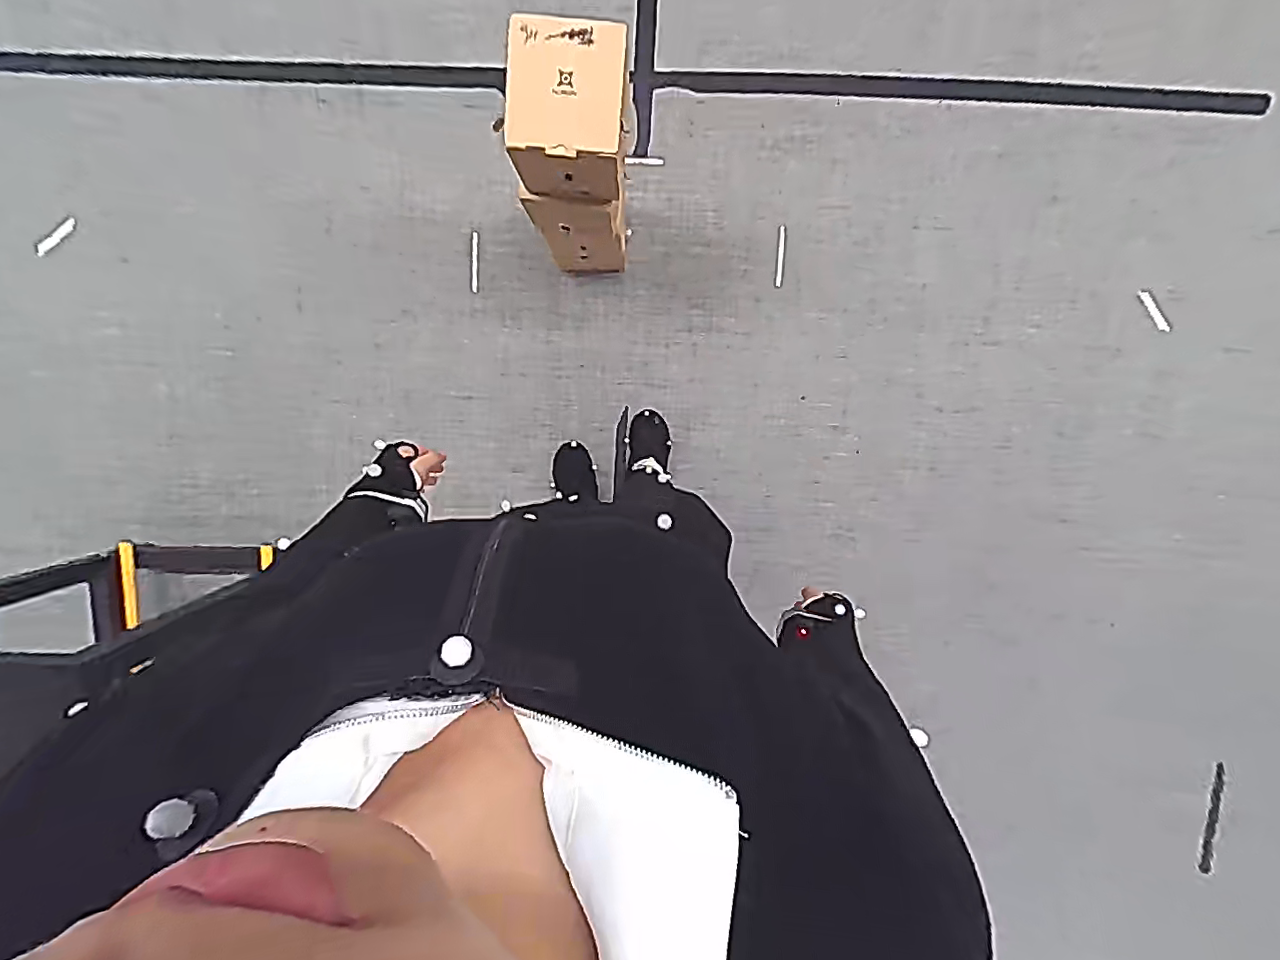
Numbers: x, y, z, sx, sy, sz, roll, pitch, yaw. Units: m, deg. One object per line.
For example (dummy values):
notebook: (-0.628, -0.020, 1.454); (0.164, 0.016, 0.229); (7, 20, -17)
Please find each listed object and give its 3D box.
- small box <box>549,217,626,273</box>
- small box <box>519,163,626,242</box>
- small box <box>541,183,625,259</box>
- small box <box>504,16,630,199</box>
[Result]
small box: (-0.125, -0.612, 1.323); (0.179, 0.176, 0.168); (-1, 98, -1)
small box: (-0.117, -0.564, 0.999); (0.168, 0.176, 0.179); (8, 98, -1)
small box: (-0.118, -0.592, 1.160); (0.168, 0.176, 0.179); (3, 98, -1)
small box: (-0.105, -0.558, 0.835); (0.168, 0.176, 0.179); (5, 98, -1)
